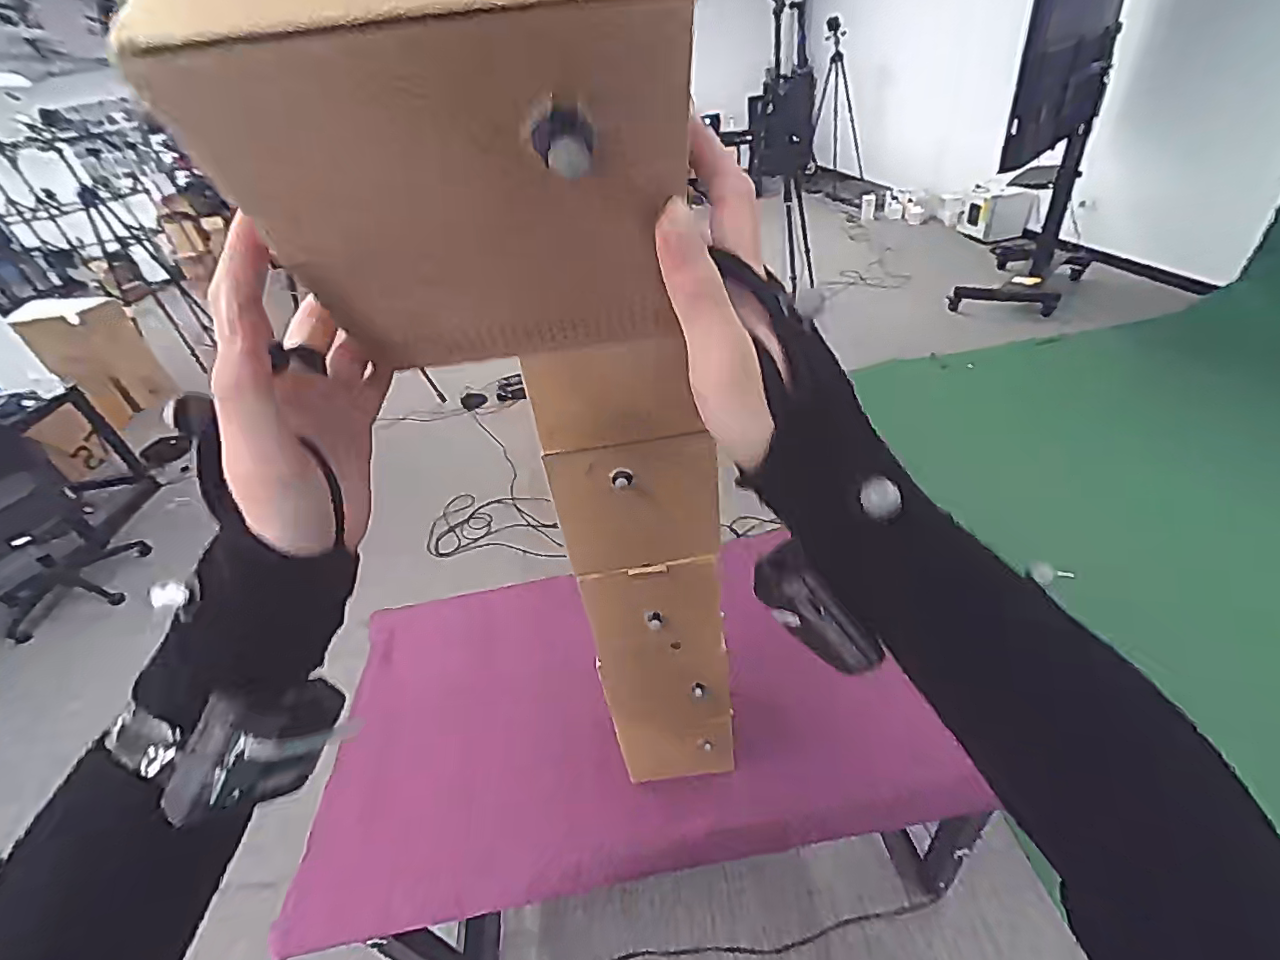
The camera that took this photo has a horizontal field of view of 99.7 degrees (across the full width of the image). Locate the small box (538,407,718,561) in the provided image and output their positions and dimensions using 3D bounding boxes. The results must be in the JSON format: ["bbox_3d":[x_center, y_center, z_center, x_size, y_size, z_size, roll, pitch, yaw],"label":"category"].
[{"bbox_3d":[-0.010,-0.022,0.639,0.179,0.176,0.168,-8,36,0],"label":"small box"}]

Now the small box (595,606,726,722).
[{"bbox_3d":[0.033,0.244,0.824,0.179,0.176,0.168,-8,36,3],"label":"small box"}]

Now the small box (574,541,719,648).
[{"bbox_3d":[0.011,0.110,0.734,0.168,0.176,0.179,-8,36,2],"label":"small box"}]

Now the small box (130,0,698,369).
[{"bbox_3d":[-0.074,-0.174,0.266,0.179,0.176,0.168,-7,68,0],"label":"small box"}]

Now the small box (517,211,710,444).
[{"bbox_3d":[-0.026,-0.154,0.545,0.179,0.176,0.168,-8,36,1],"label":"small box"}]
